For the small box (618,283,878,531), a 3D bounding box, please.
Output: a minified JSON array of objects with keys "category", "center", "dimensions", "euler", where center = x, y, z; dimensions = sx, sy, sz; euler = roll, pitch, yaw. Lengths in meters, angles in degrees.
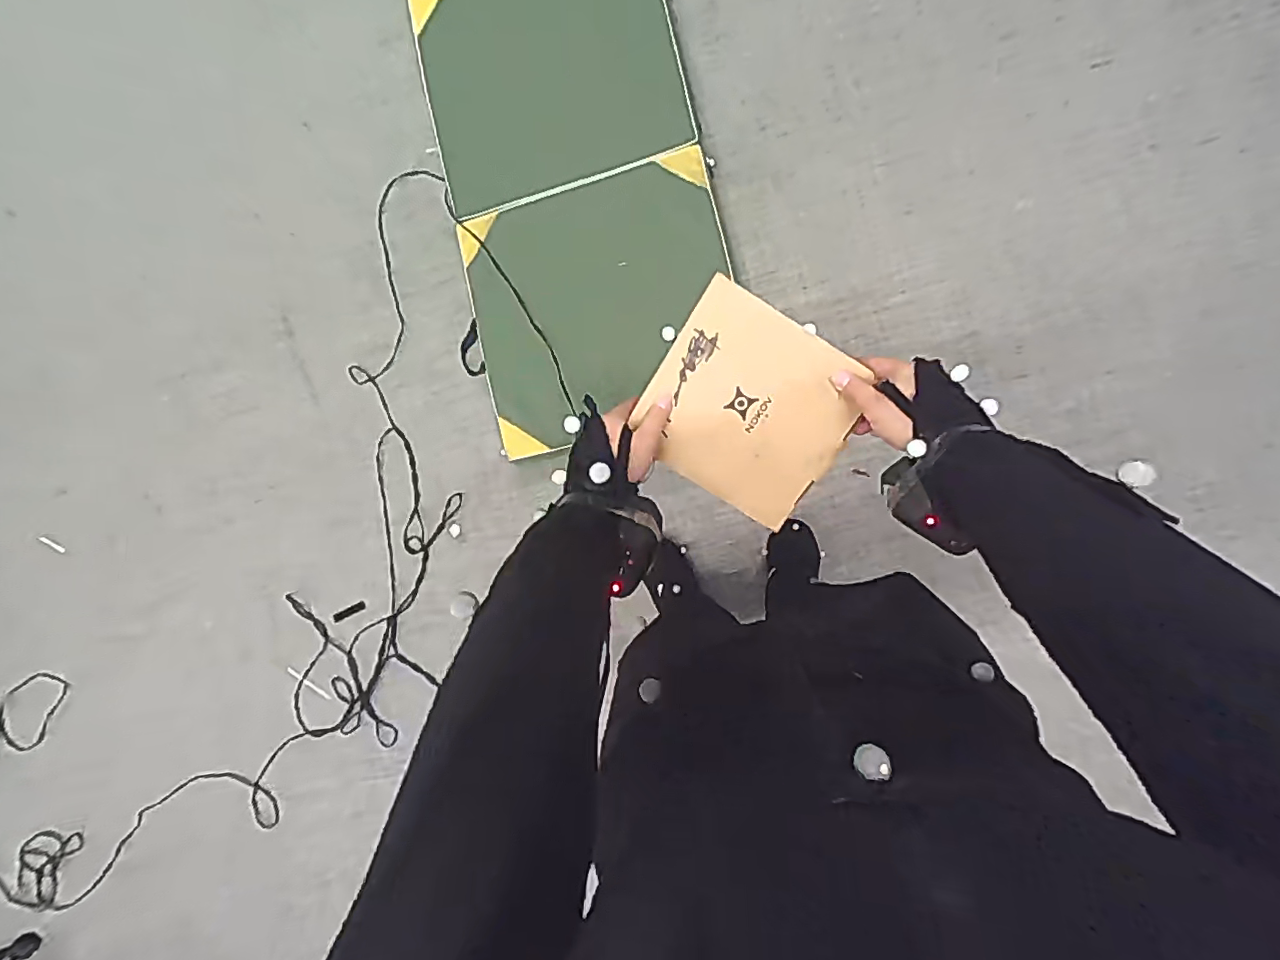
[{"category":"small box","center":[0.100,-0.081,0.560],"dimensions":[0.179,0.176,0.168],"euler":[31,105,-3]}]
